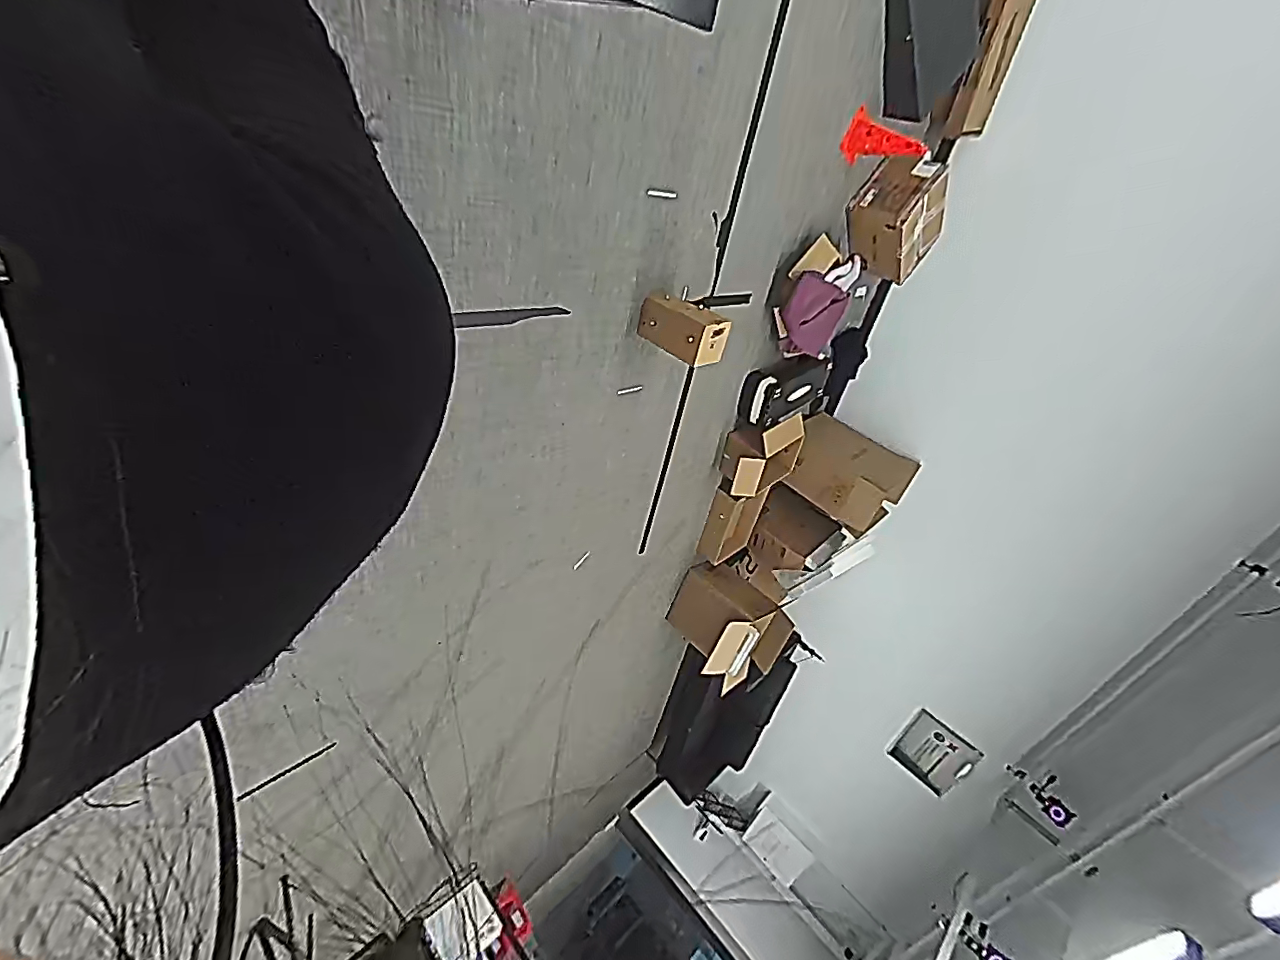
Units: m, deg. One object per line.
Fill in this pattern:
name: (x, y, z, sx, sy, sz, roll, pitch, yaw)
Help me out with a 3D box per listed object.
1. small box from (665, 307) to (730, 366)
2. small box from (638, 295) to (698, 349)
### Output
small box: (0.222, -0.574, 2.136, 0.168, 0.176, 0.179, -22, 139, -40)
small box: (0.118, -0.658, 2.237, 0.179, 0.176, 0.168, -19, 136, -41)
